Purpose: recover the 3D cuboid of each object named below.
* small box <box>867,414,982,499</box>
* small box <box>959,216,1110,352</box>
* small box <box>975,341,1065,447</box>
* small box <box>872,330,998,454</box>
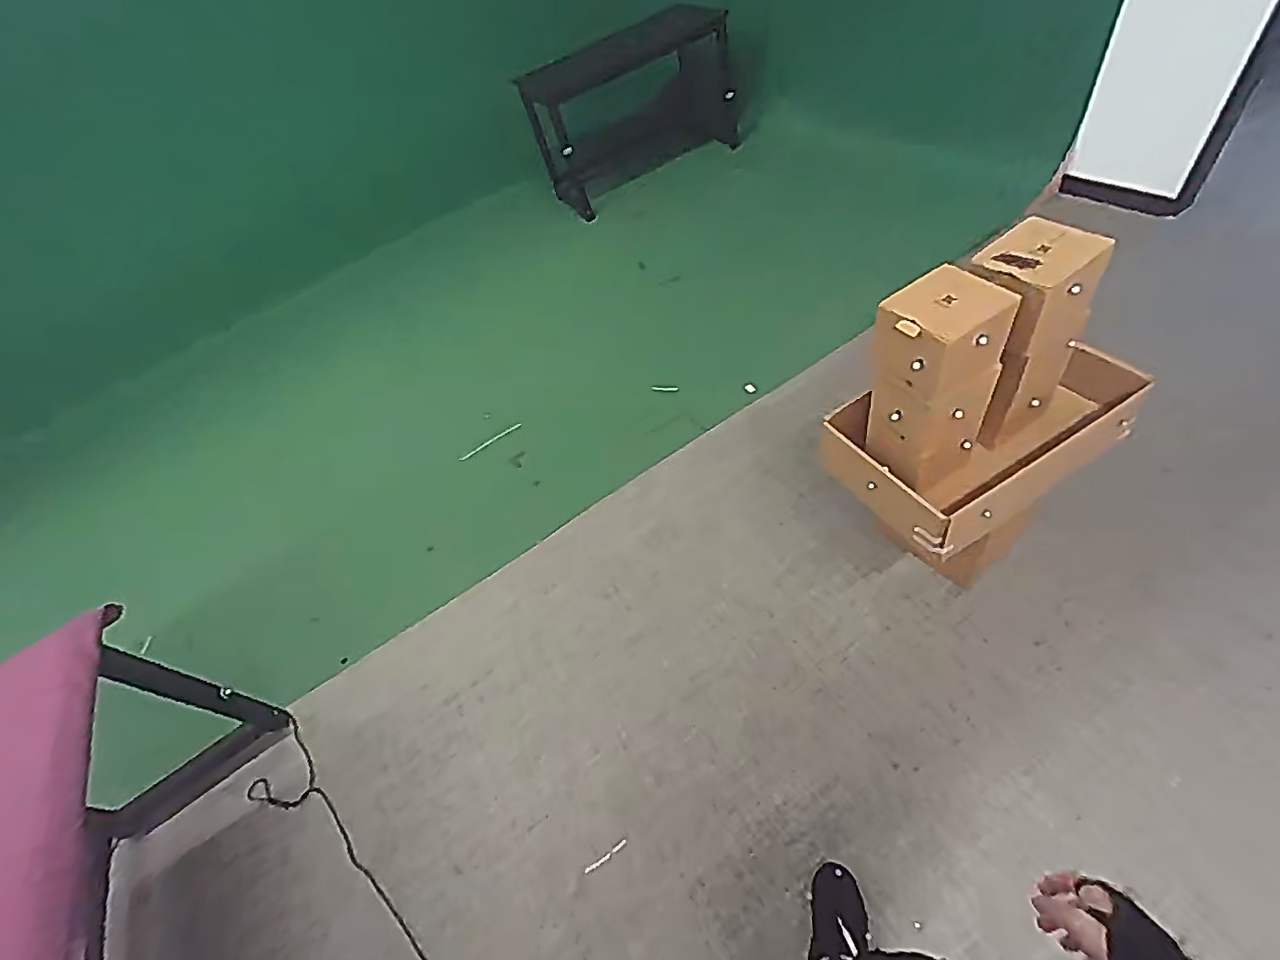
[{"bbox_3d":[0.675,-0.090,1.309,0.179,0.176,0.168,-31,49,-8],"label":"small box"},{"bbox_3d":[0.777,-0.391,1.090,0.179,0.176,0.168,-36,50,-8],"label":"small box"},{"bbox_3d":[0.891,-0.217,1.345,0.179,0.176,0.168,-34,51,-6],"label":"small box"},{"bbox_3d":[0.634,-0.189,1.187,0.179,0.176,0.168,-31,50,-7],"label":"small box"}]
